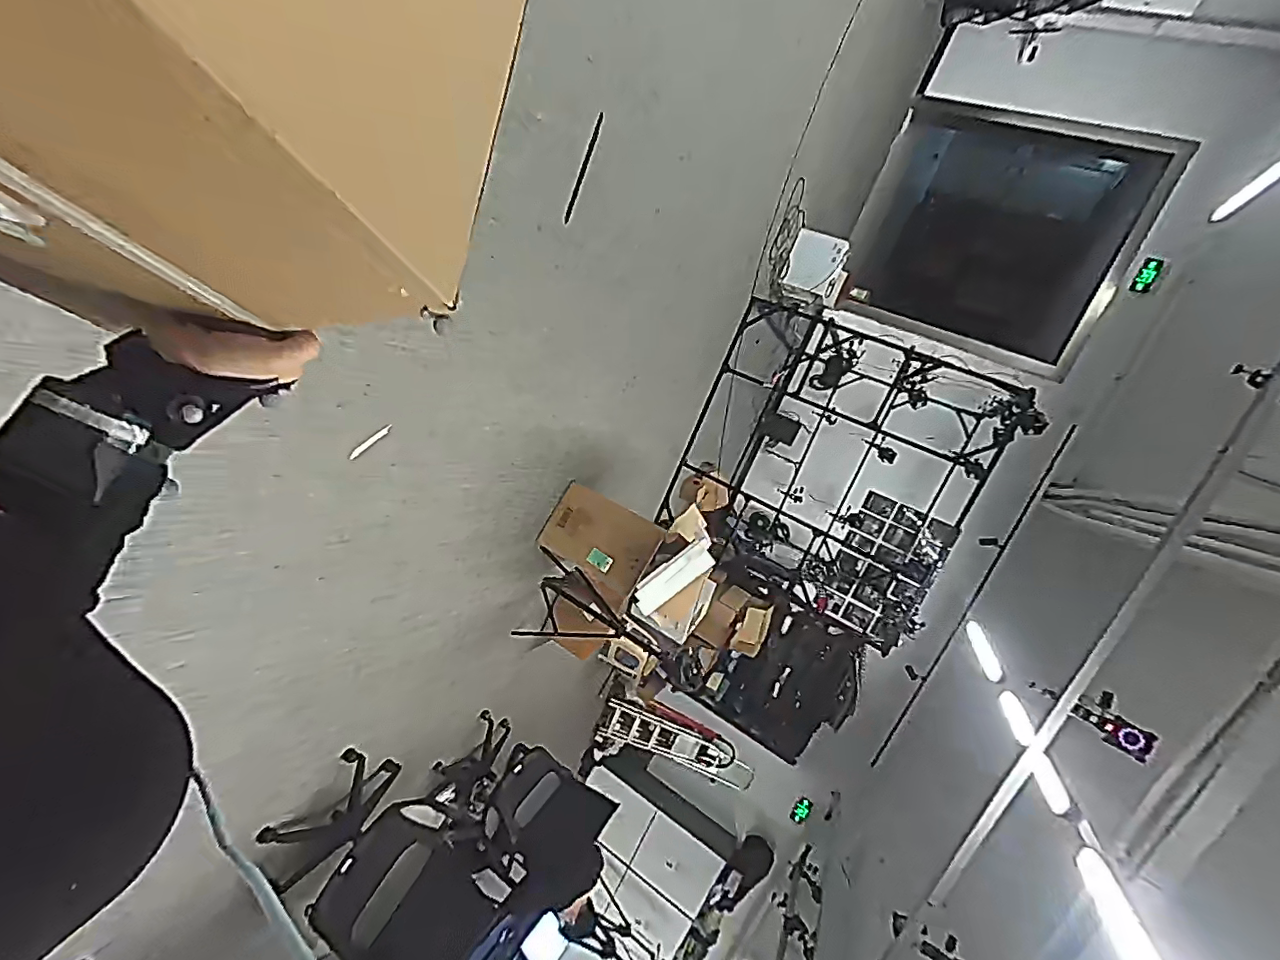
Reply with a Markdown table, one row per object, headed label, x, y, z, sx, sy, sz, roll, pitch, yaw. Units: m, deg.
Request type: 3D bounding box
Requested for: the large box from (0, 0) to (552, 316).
| label | x | y | z | sx | sy | sz | roll | pitch | yaw |
| --- | --- | --- | --- | --- | --- | --- | --- | --- | --- |
| large box | -0.274 | -0.331 | 0.245 | 0.408 | 0.320 | 0.320 | 44 | 50 | -65 |
